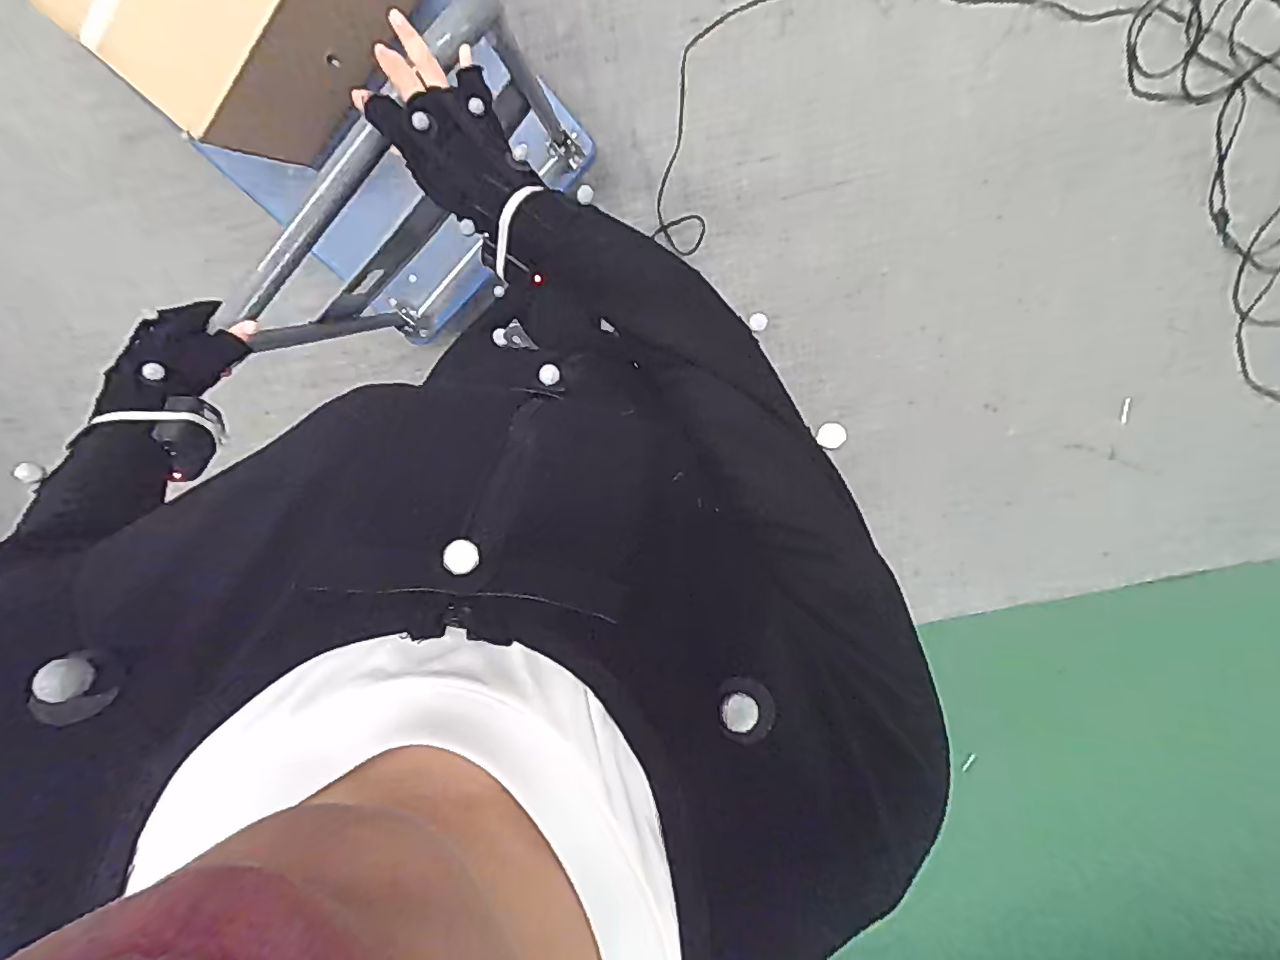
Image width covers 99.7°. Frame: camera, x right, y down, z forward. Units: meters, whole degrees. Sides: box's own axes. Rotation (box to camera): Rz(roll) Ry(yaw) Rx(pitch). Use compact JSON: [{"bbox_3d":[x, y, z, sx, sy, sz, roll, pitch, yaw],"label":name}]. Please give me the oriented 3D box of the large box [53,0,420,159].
[{"bbox_3d":[-0.603,-0.792,0.832,0.320,0.320,0.408,42,107,-17],"label":"large box"}]
